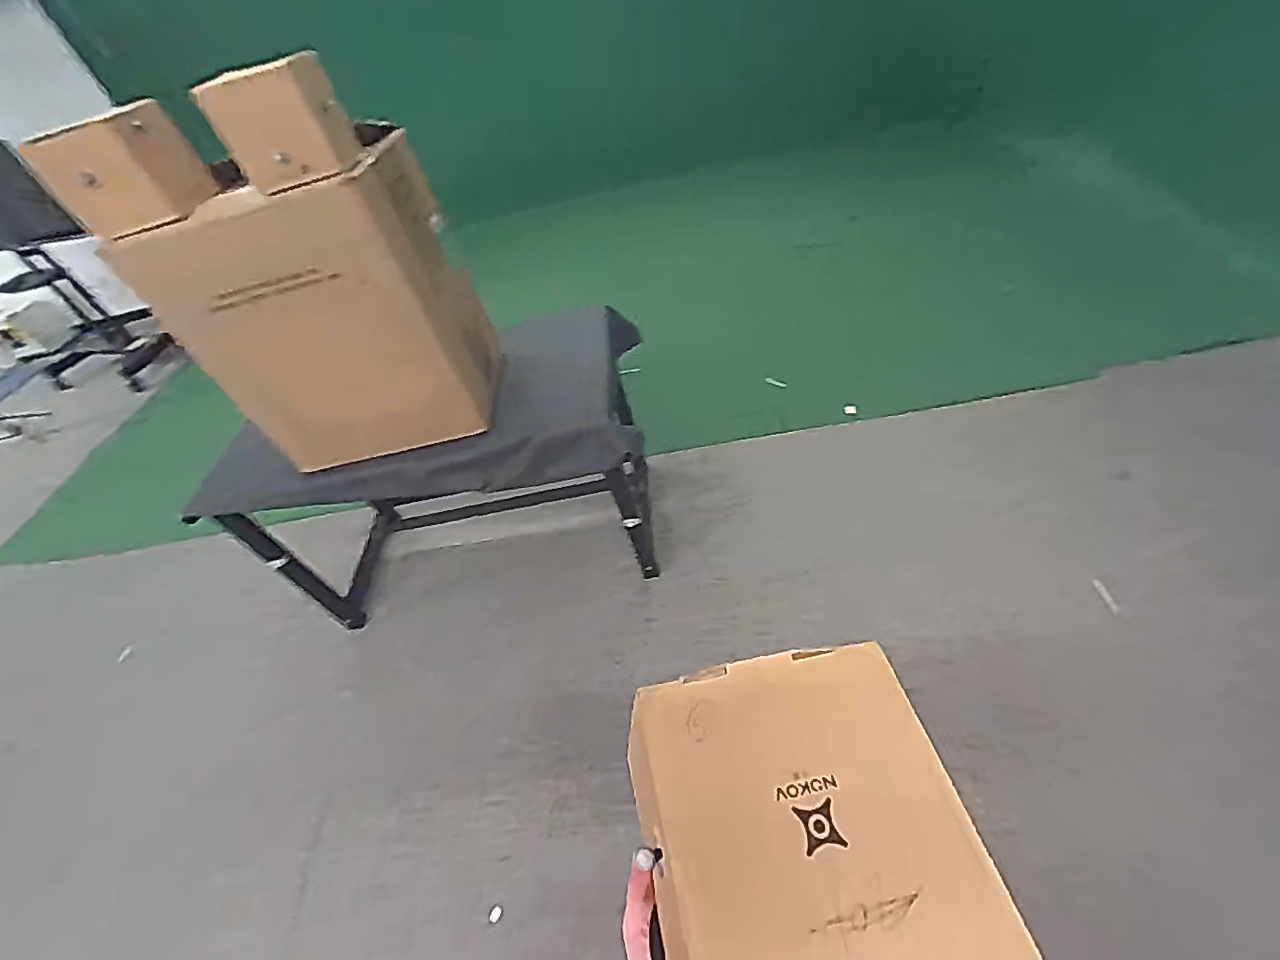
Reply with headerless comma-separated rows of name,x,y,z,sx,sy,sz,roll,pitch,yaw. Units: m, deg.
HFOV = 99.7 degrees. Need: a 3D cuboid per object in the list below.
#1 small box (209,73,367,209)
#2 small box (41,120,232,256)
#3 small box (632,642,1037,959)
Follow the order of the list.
small box,-0.650,-0.641,1.028,0.168,0.176,0.179,-16,45,2
small box,-0.966,-0.565,1.057,0.179,0.176,0.168,-14,45,8
small box,0.091,0.236,0.356,0.168,0.176,0.179,-10,51,-10
